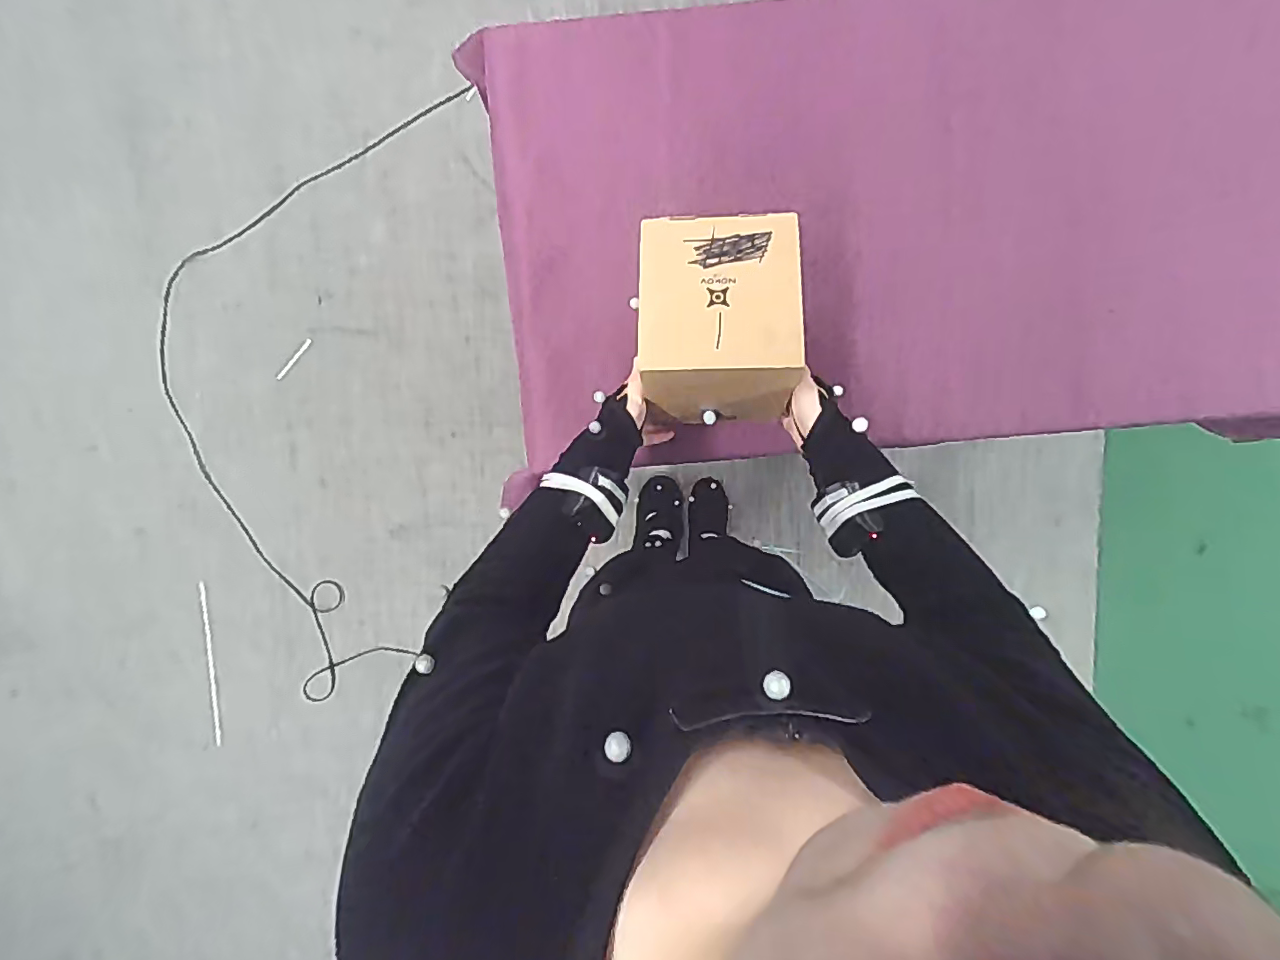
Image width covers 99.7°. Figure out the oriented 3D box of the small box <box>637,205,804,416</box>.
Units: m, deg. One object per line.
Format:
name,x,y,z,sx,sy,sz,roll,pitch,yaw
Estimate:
small box,0.087,-0.183,0.623,0.168,0.176,0.179,0,79,6
